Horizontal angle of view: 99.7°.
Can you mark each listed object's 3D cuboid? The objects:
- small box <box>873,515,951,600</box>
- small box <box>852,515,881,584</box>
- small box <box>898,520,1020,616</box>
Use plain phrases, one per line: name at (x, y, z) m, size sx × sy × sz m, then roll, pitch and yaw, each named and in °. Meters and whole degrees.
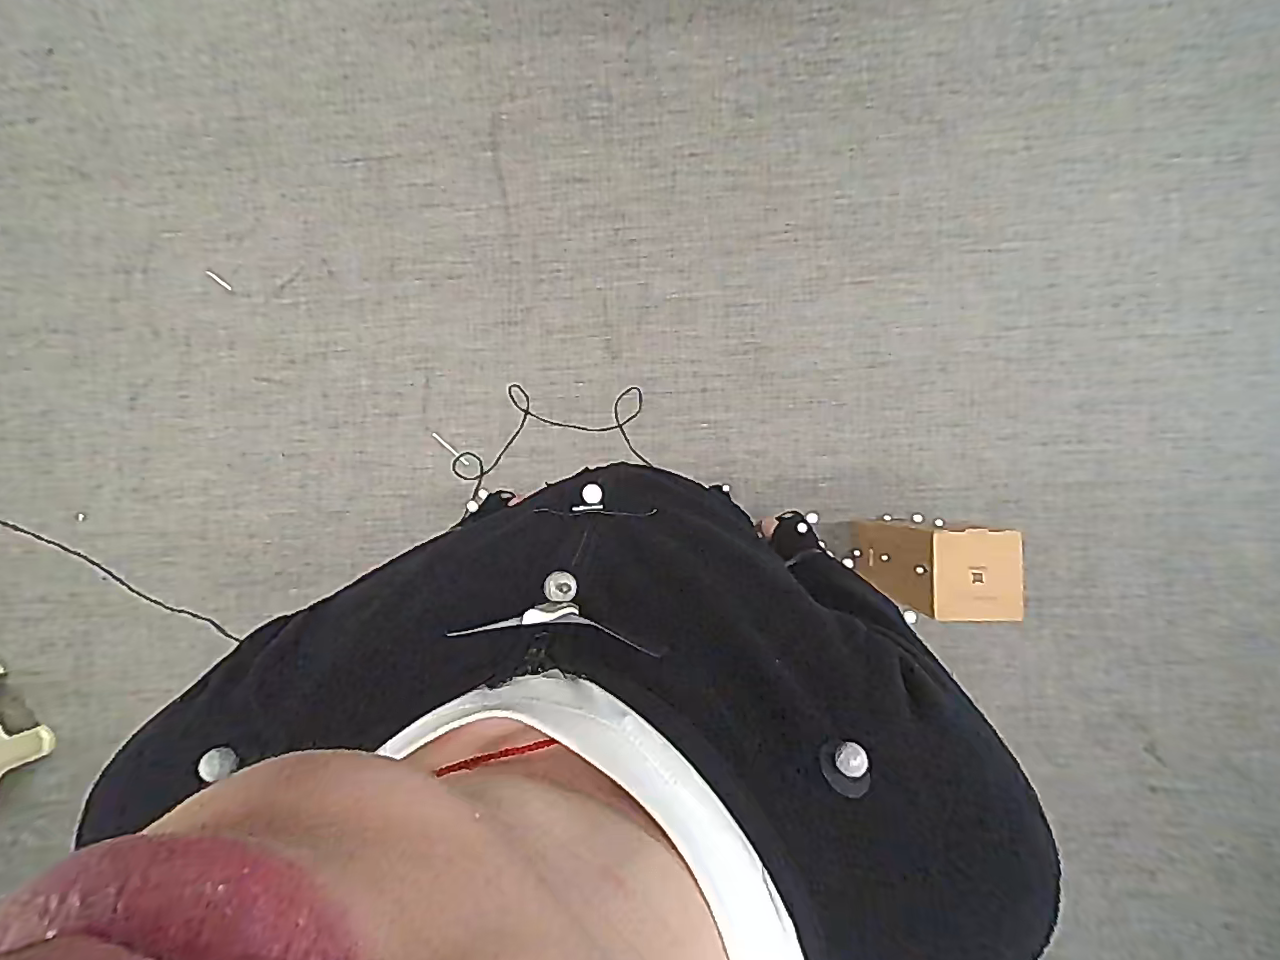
small box at (0.667, 0.179, 1.285) m, size 0.168 × 0.176 × 0.179 m, roll -2°, pitch 90°, yaw 3°
small box at (0.678, 0.184, 1.450) m, size 0.179 × 0.176 × 0.168 m, roll -1°, pitch 91°, yaw 4°
small box at (0.653, 0.175, 1.125) m, size 0.168 × 0.176 × 0.179 m, roll -1°, pitch 92°, yaw 4°
